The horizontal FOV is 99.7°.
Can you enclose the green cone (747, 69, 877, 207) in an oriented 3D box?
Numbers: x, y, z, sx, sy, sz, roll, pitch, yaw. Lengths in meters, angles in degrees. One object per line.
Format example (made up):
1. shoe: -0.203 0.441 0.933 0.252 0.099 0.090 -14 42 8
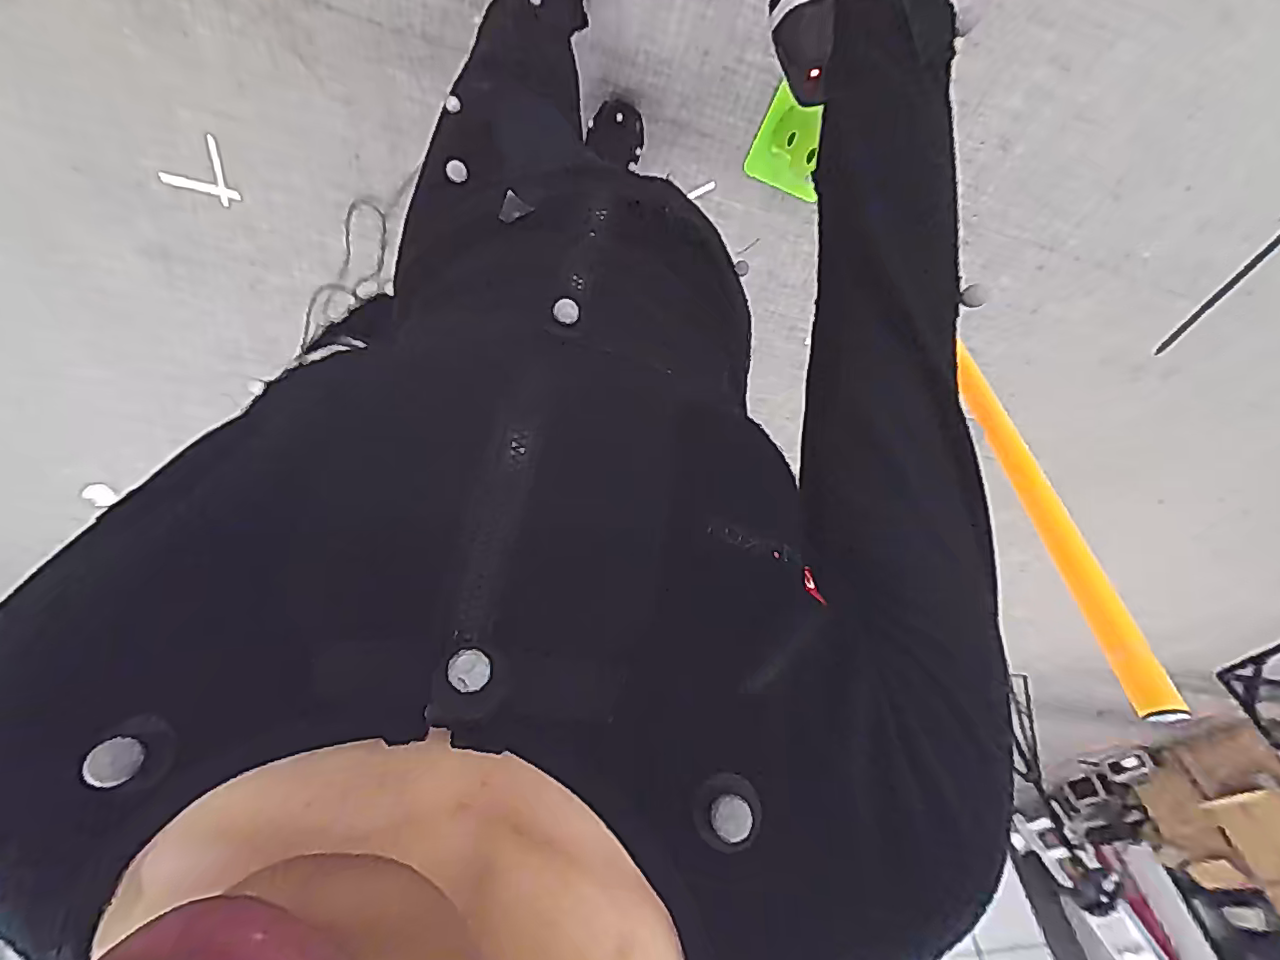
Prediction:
1. green cone: 0.361 -0.601 1.027 0.202 0.368 0.200 13 133 -17
